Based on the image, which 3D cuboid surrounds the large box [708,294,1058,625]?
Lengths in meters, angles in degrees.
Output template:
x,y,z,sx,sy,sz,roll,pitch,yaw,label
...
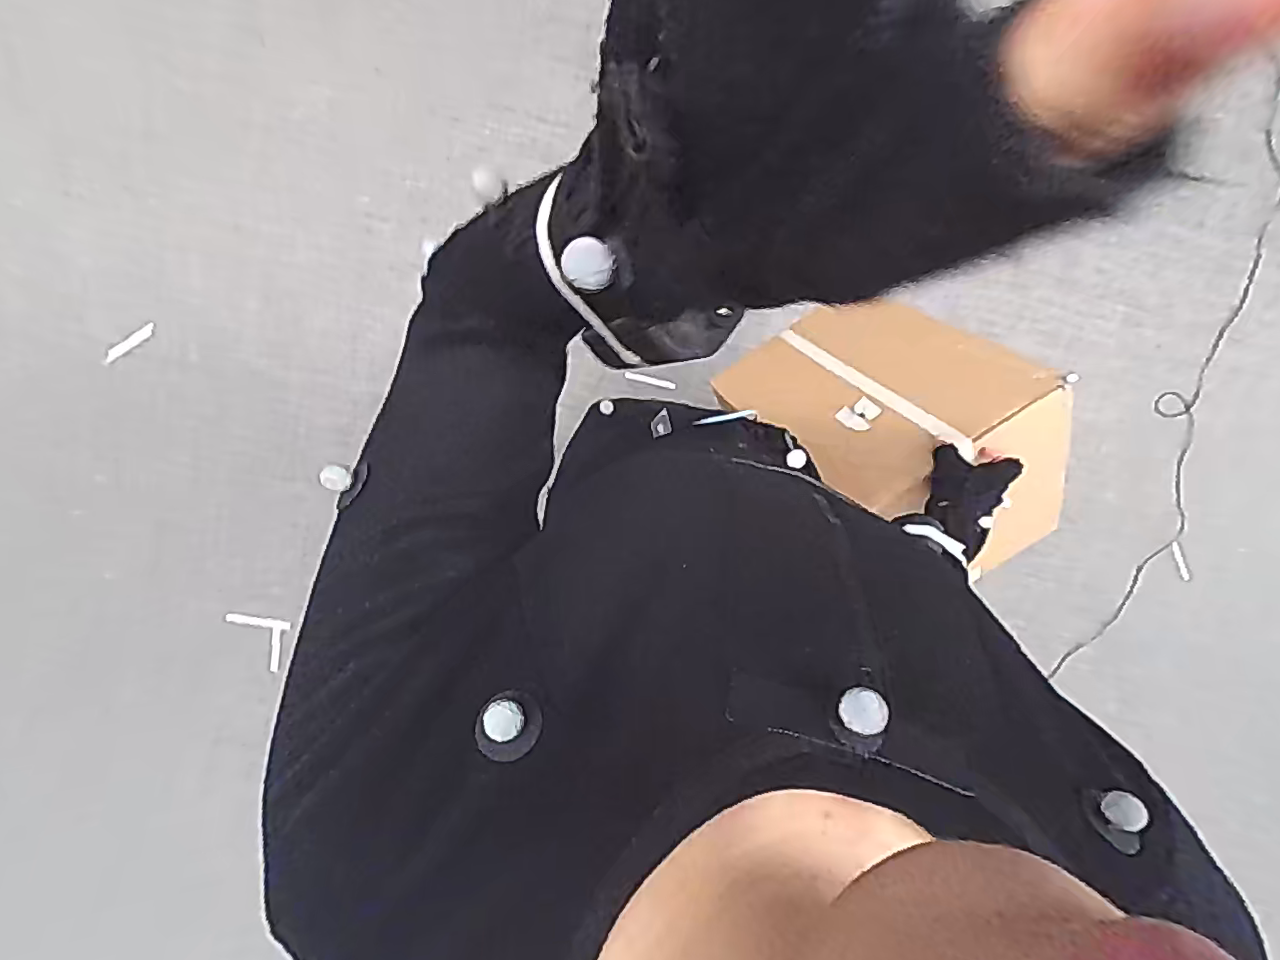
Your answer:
x,y,z,sx,sy,sz,roll,pitch,yaw,label
0.376,-0.046,0.910,0.320,0.408,0.320,-34,132,2,large box
